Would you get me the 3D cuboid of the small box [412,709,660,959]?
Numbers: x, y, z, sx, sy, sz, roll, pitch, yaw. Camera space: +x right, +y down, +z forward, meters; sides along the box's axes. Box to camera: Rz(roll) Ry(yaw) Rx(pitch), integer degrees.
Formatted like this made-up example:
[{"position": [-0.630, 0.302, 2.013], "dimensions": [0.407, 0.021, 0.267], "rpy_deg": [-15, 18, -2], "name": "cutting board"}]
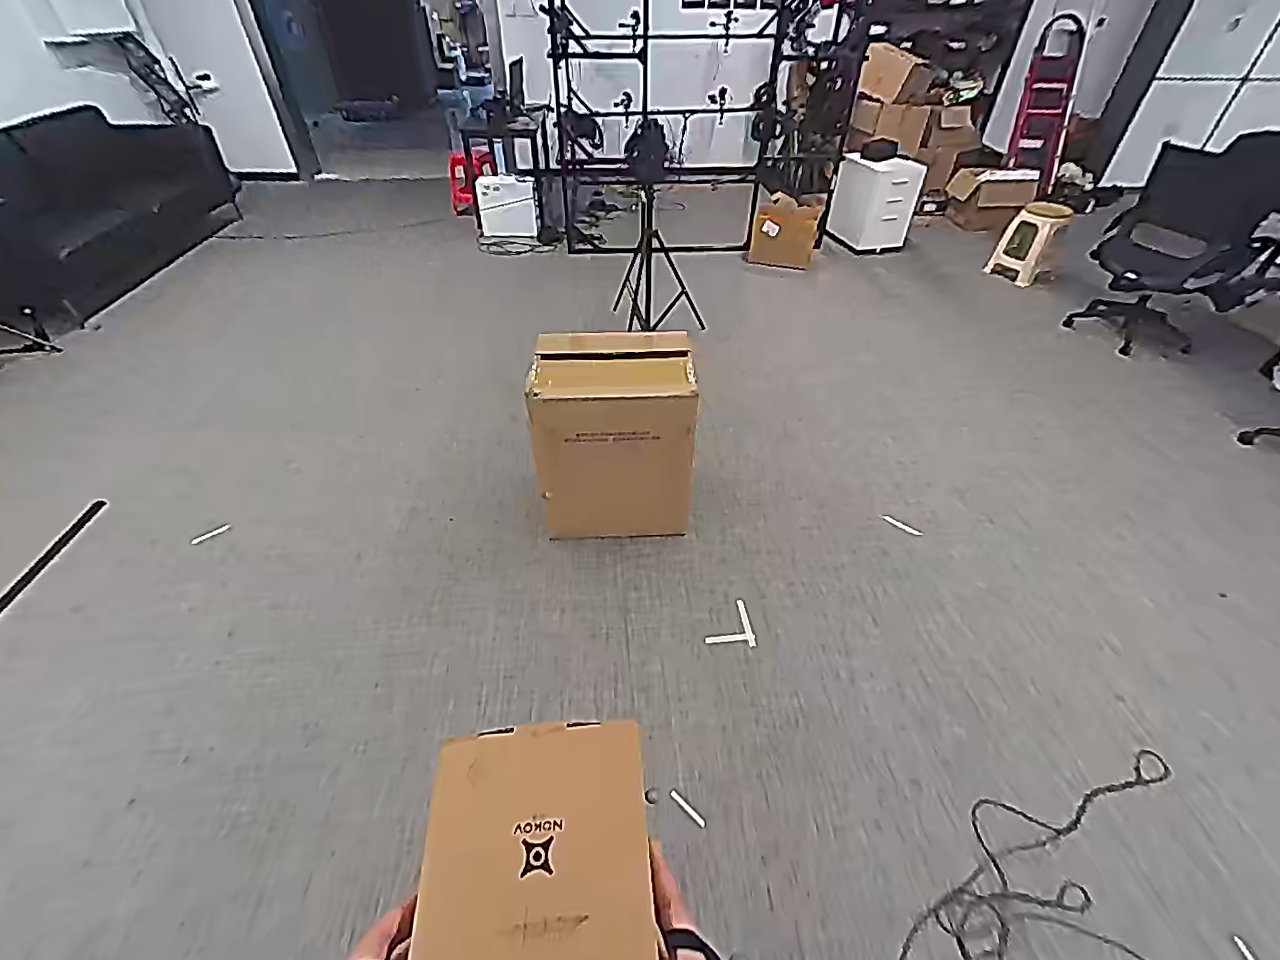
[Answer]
[{"position": [-0.075, 0.320, 0.463], "dimensions": [0.168, 0.176, 0.179], "rpy_deg": [-4, 47, -4], "name": "small box"}]
